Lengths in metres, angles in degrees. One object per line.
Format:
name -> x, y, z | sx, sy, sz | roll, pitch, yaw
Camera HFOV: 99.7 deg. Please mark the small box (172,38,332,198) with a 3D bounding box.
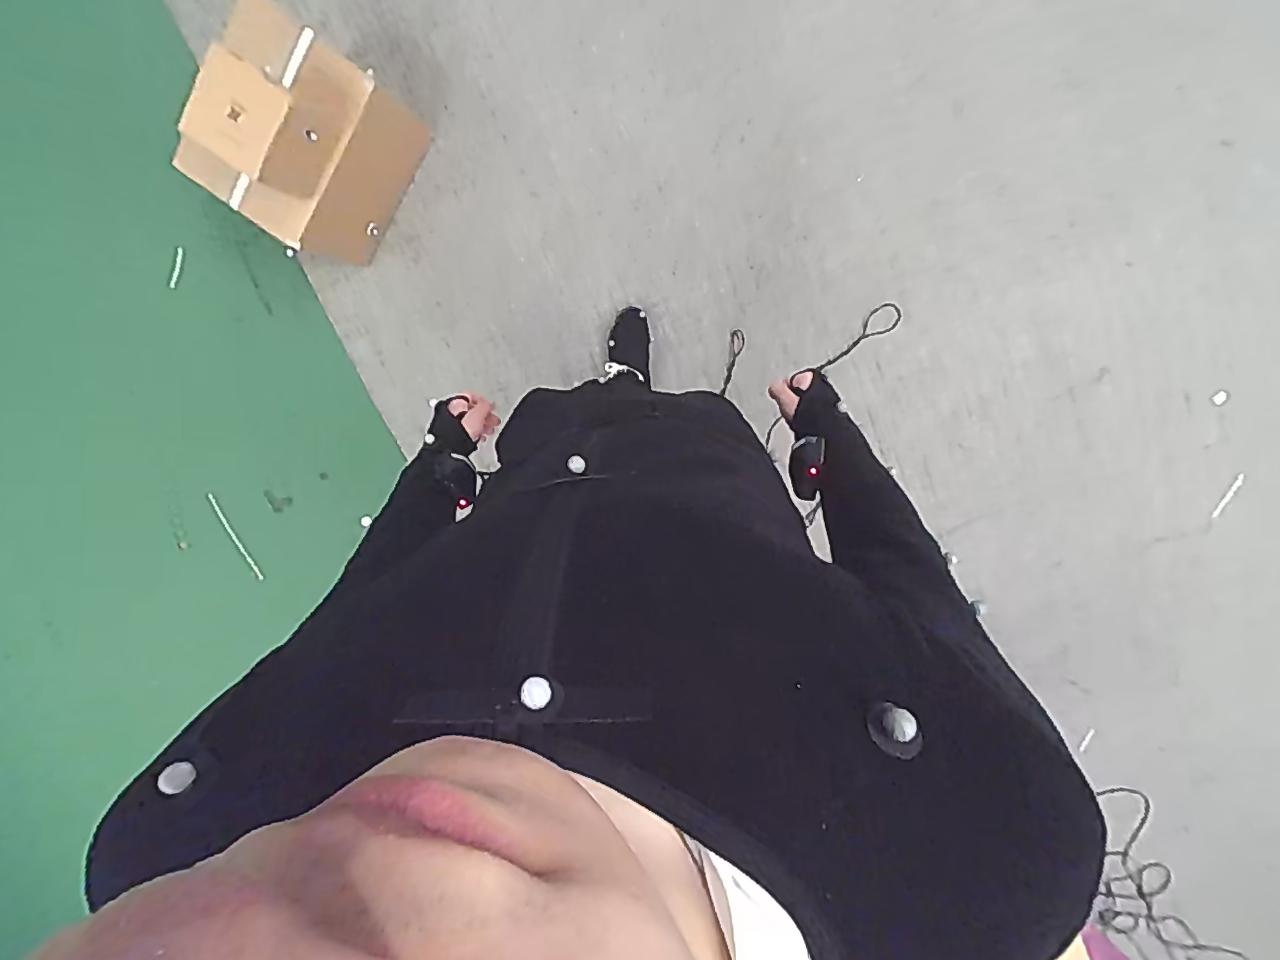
small box -> -0.753, -0.701, 1.071 | 0.168, 0.176, 0.179 | 35, 104, -7
